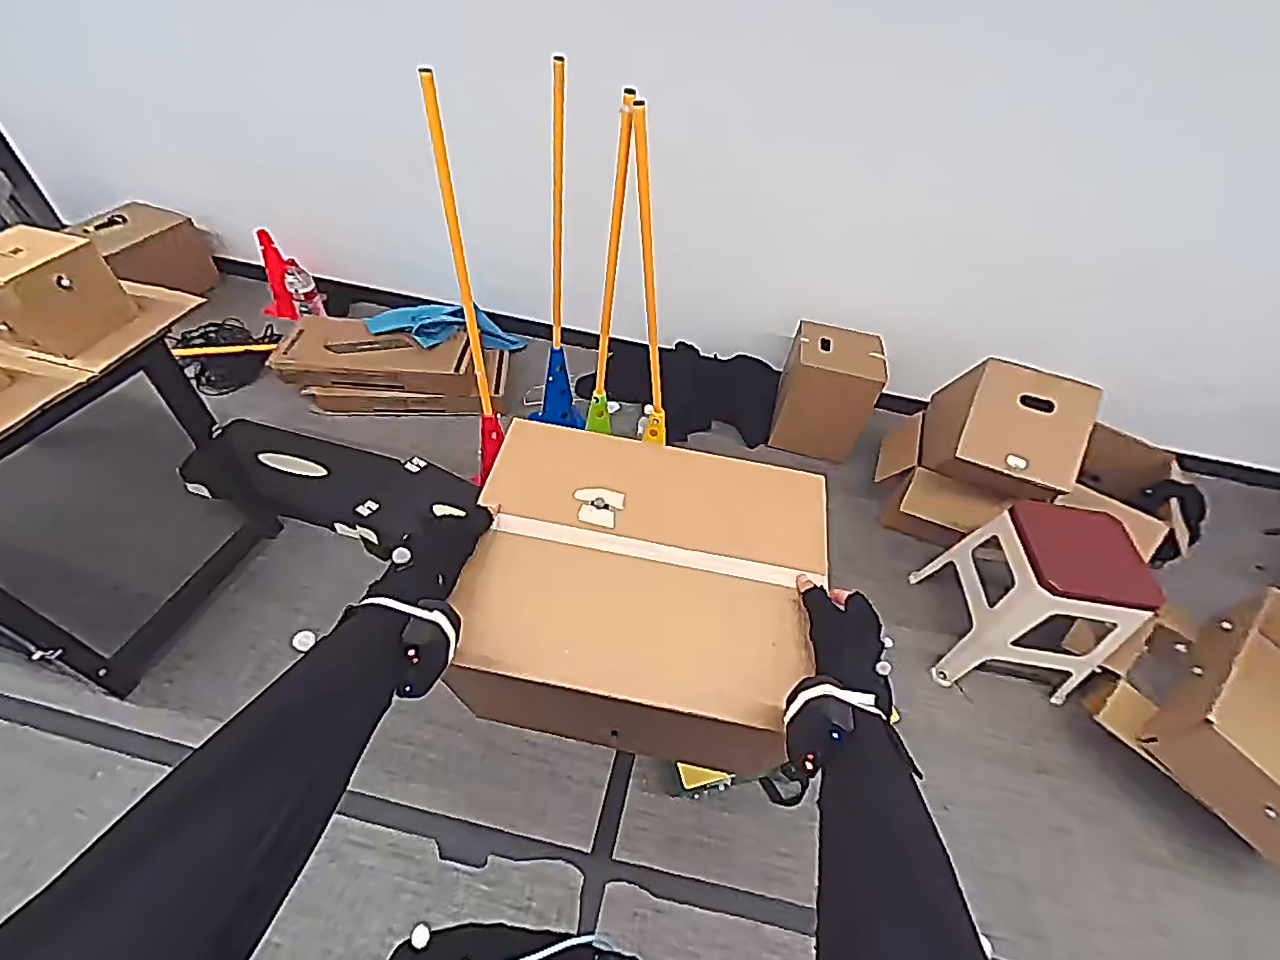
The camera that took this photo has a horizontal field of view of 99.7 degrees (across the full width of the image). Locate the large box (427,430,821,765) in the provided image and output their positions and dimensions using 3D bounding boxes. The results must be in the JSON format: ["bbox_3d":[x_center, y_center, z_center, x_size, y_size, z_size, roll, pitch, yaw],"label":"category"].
[{"bbox_3d":[-0.002,0.172,0.738,0.408,0.320,0.320,11,55,3],"label":"large box"}]
